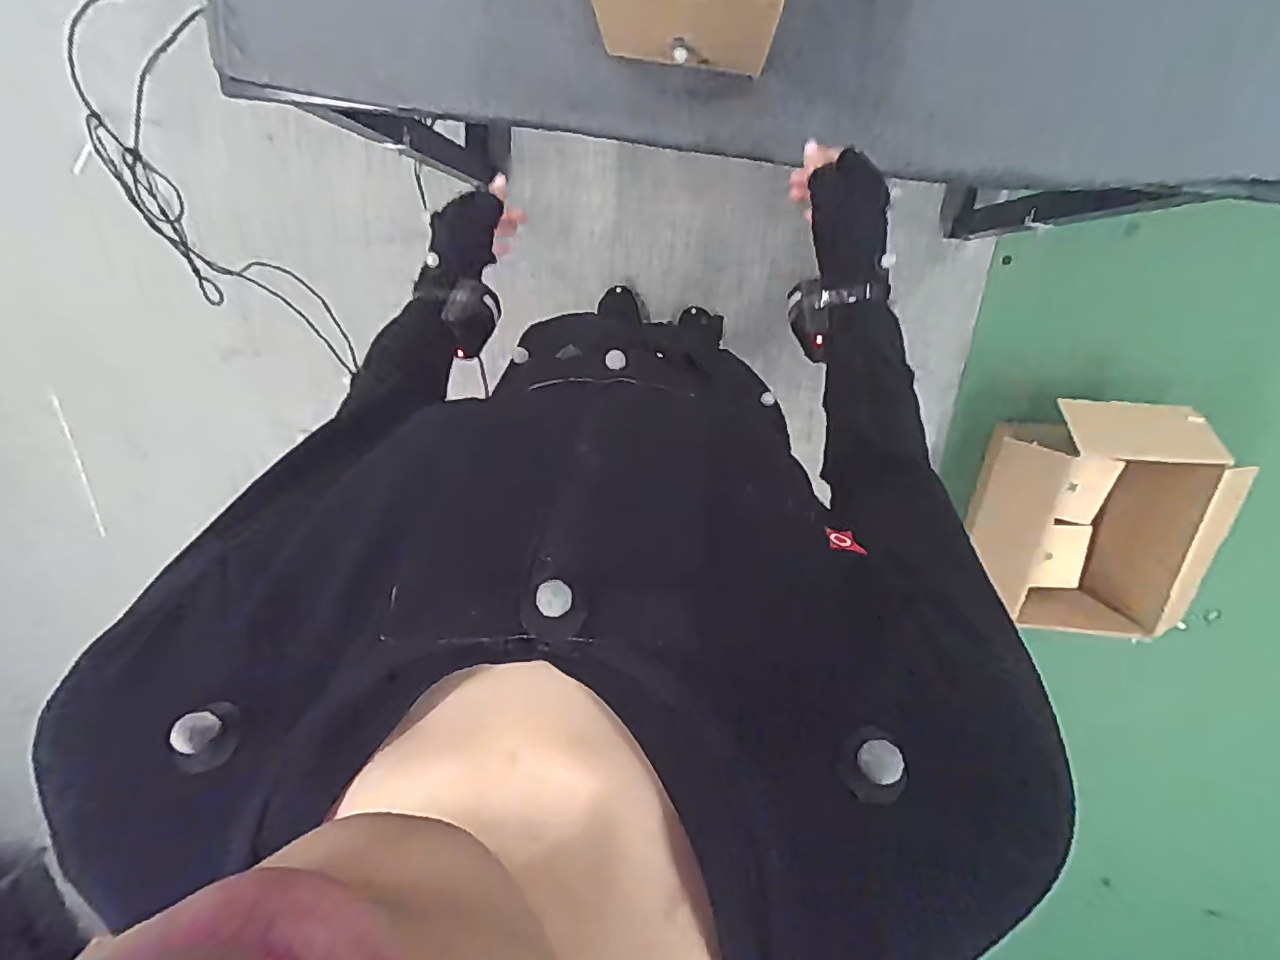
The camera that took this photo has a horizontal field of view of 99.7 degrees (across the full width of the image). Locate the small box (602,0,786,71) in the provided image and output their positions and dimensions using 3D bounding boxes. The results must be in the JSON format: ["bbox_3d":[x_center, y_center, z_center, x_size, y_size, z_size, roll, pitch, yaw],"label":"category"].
[{"bbox_3d":[0.053,-0.497,0.467,0.168,0.176,0.179,9,110,2],"label":"small box"}]
